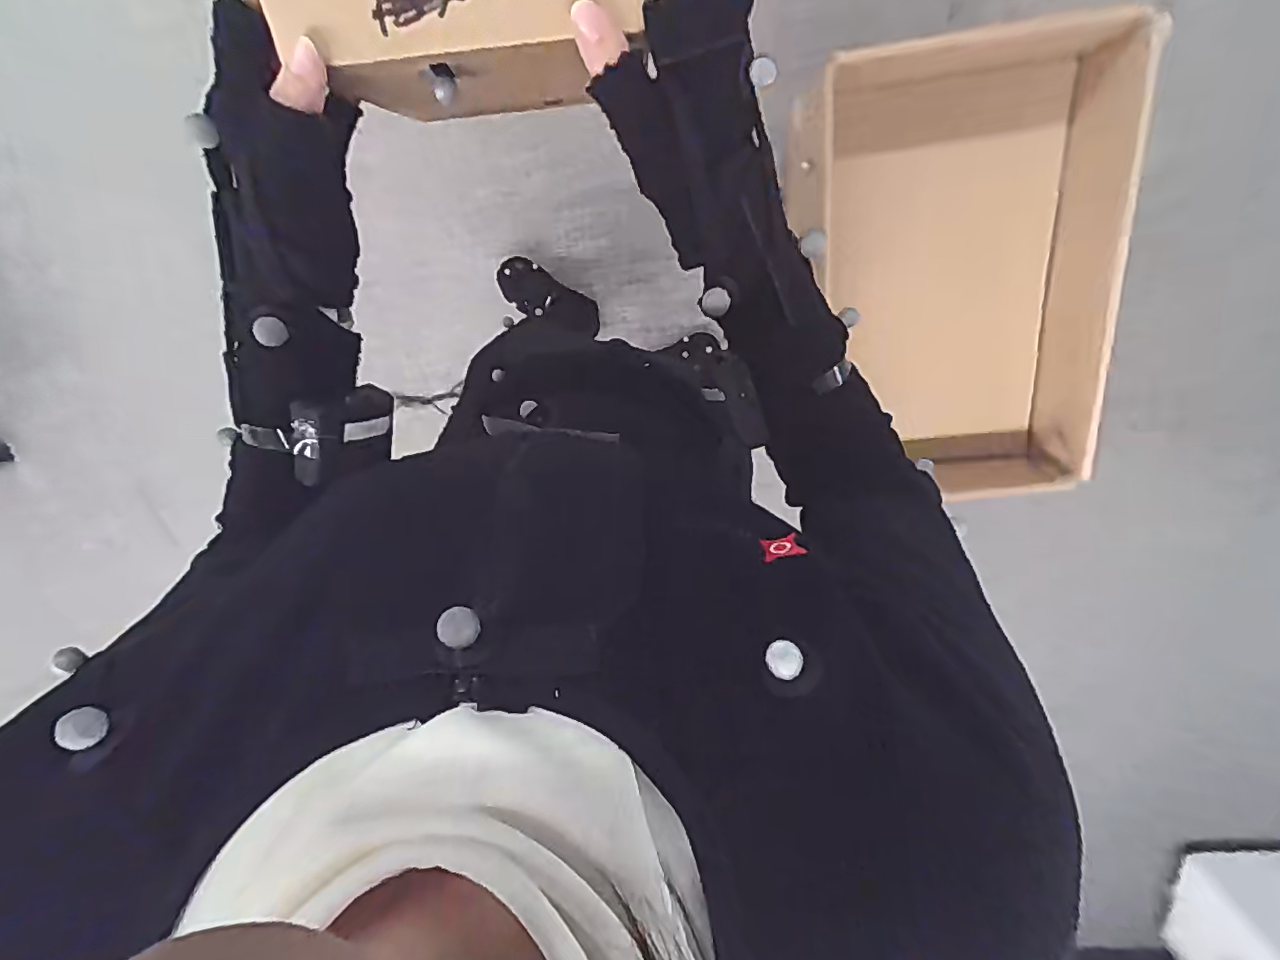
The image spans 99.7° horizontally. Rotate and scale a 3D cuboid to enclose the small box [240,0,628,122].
[{"bbox_3d":[-0.097,-0.305,0.272,0.168,0.176,0.179,-6,116,3],"label":"small box"}]
